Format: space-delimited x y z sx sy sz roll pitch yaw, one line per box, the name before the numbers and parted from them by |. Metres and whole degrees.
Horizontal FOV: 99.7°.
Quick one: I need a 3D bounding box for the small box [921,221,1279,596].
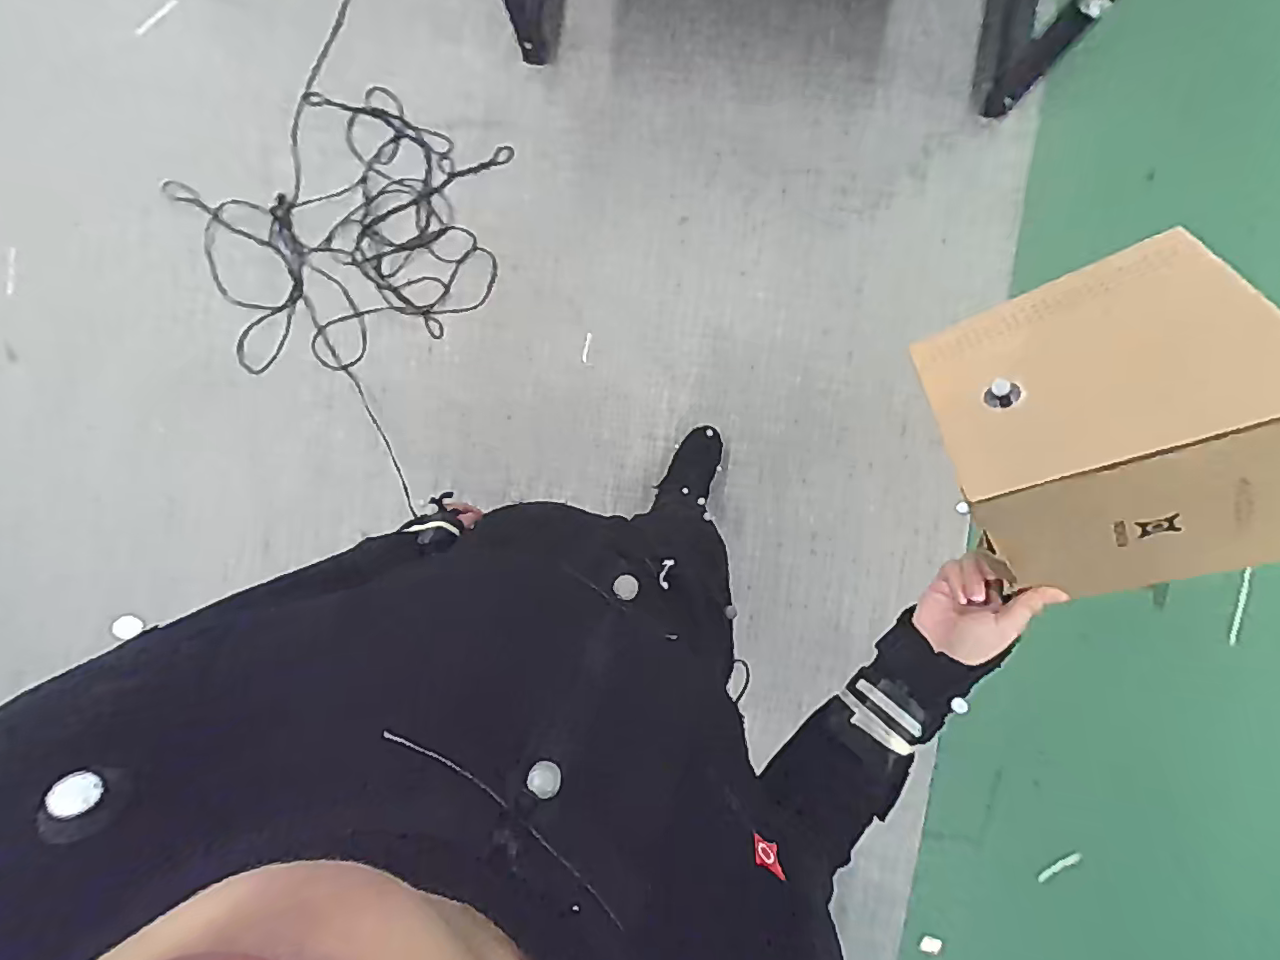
small box | 0.328 -0.043 0.395 0.179 0.176 0.168 -25 133 30
